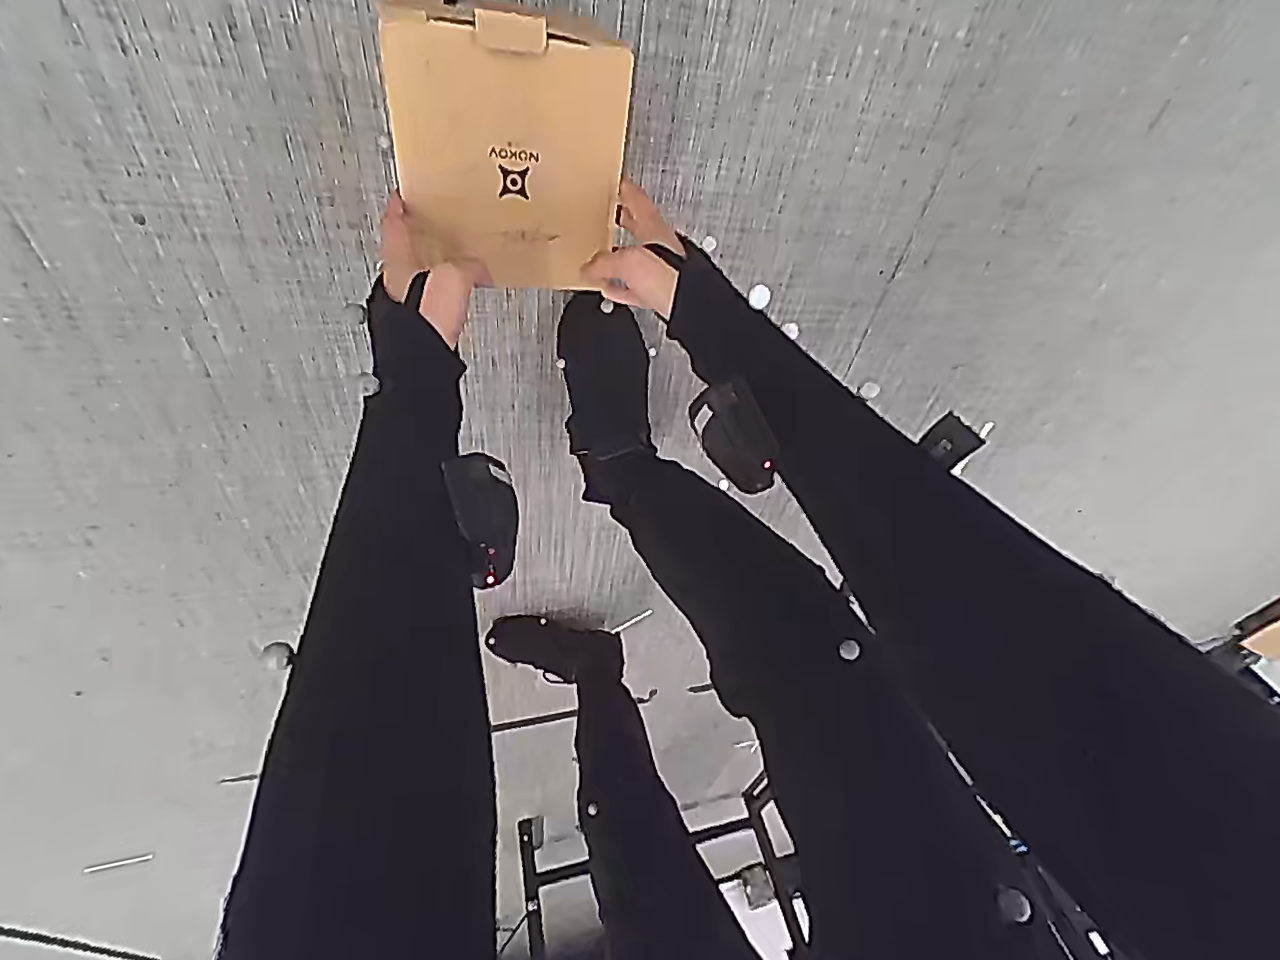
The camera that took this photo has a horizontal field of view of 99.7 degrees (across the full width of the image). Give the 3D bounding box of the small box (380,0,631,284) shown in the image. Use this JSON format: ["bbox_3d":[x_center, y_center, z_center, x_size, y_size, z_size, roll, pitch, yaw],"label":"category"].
[{"bbox_3d":[-0.114,-0.290,0.464,0.168,0.176,0.179,-2,134,-15],"label":"small box"}]
